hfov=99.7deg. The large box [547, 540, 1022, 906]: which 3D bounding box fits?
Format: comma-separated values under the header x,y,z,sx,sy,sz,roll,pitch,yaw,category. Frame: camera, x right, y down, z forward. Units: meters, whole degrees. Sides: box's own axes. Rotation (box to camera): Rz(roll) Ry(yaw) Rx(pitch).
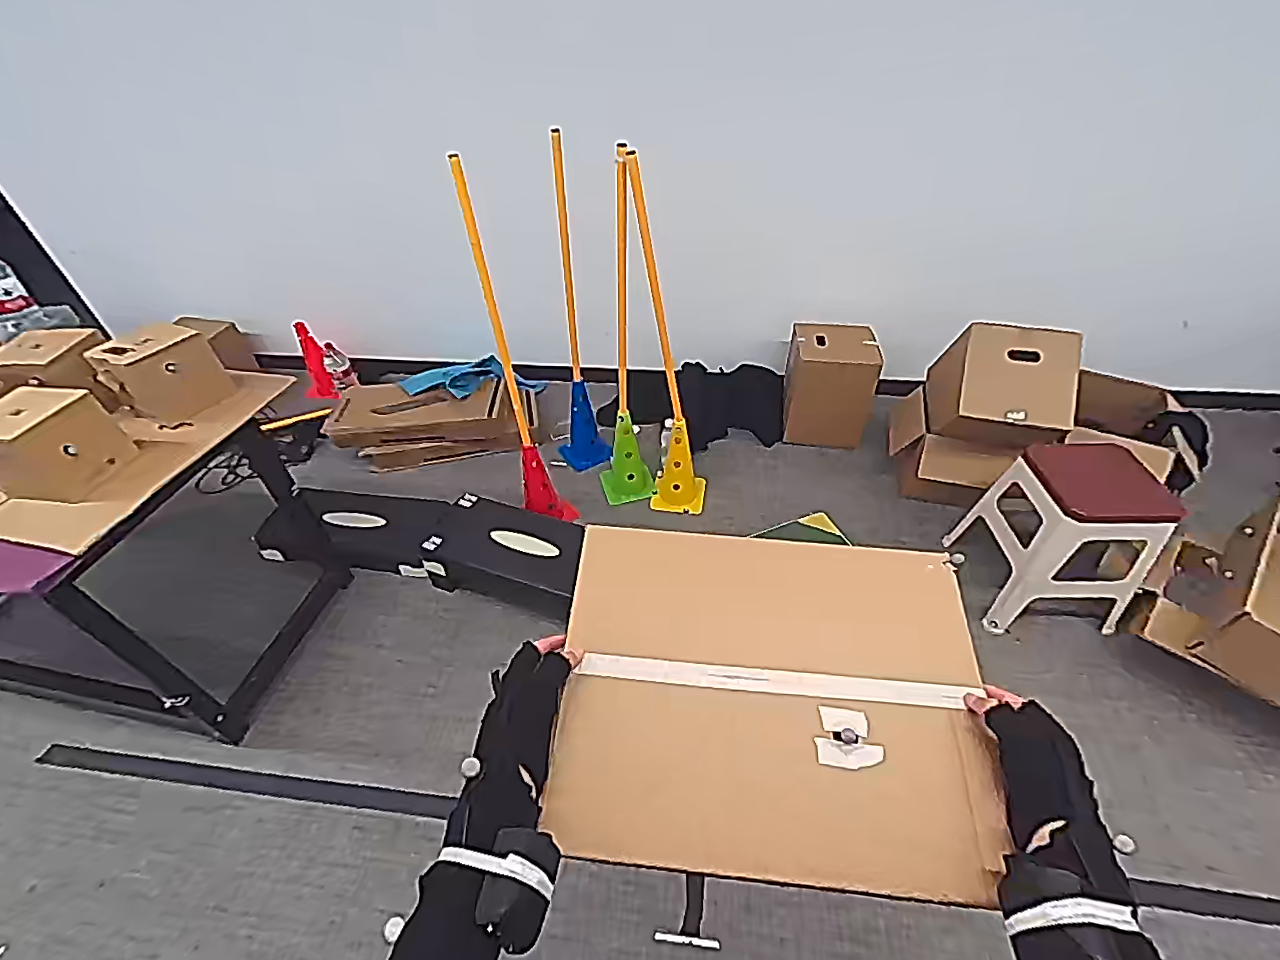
x,y,z,sx,sy,sz,roll,pitch,yaw,category
0.129,0.292,0.656,0.408,0.320,0.320,4,56,4,large box
